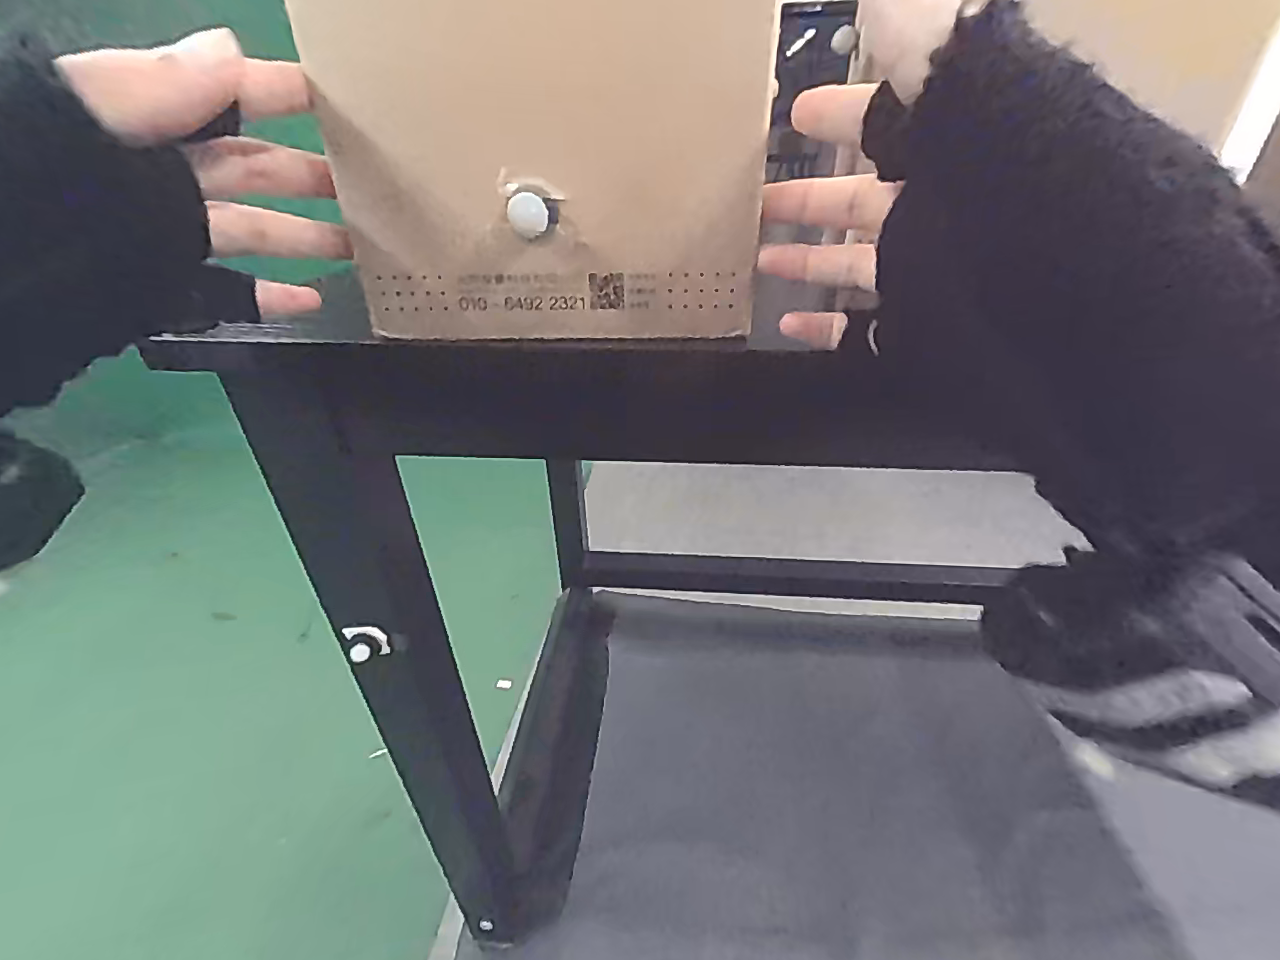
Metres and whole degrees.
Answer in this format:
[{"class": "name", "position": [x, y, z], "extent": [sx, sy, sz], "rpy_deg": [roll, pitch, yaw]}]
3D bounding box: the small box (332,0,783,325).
[{"class": "small box", "position": [-0.030, -0.184, 0.269], "extent": [0.168, 0.176, 0.179], "rpy_deg": [0, 31, 2]}]

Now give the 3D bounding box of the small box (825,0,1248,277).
[{"class": "small box", "position": [0.216, -0.229, 0.339], "extent": [0.168, 0.176, 0.179], "rpy_deg": [6, 32, 12]}]

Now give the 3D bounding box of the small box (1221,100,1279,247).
[{"class": "small box", "position": [0.506, -0.213, 0.295], "extent": [0.168, 0.176, 0.179], "rpy_deg": [-1, 31, 2]}]
